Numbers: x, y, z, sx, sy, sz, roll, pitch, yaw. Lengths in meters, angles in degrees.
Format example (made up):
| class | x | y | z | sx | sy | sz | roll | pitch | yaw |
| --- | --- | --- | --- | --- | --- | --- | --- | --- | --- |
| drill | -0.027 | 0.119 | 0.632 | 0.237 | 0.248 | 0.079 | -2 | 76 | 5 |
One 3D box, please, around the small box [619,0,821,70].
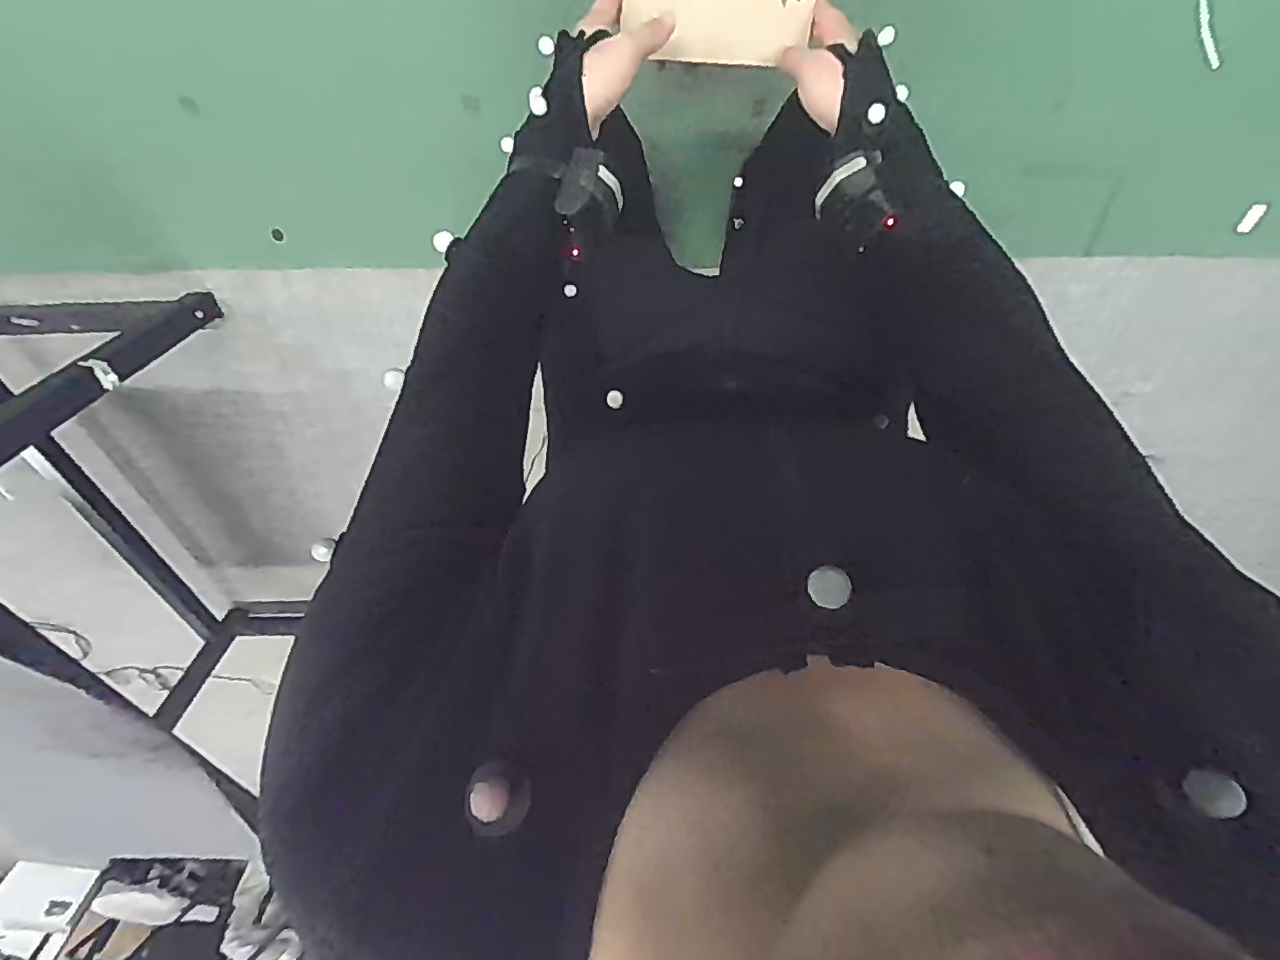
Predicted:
| class | x | y | z | sx | sy | sz | roll | pitch | yaw |
| --- | --- | --- | --- | --- | --- | --- | --- | --- | --- |
| small box | 0.074 | -0.494 | 0.506 | 0.179 | 0.176 | 0.168 | 3 | 130 | -1 |
